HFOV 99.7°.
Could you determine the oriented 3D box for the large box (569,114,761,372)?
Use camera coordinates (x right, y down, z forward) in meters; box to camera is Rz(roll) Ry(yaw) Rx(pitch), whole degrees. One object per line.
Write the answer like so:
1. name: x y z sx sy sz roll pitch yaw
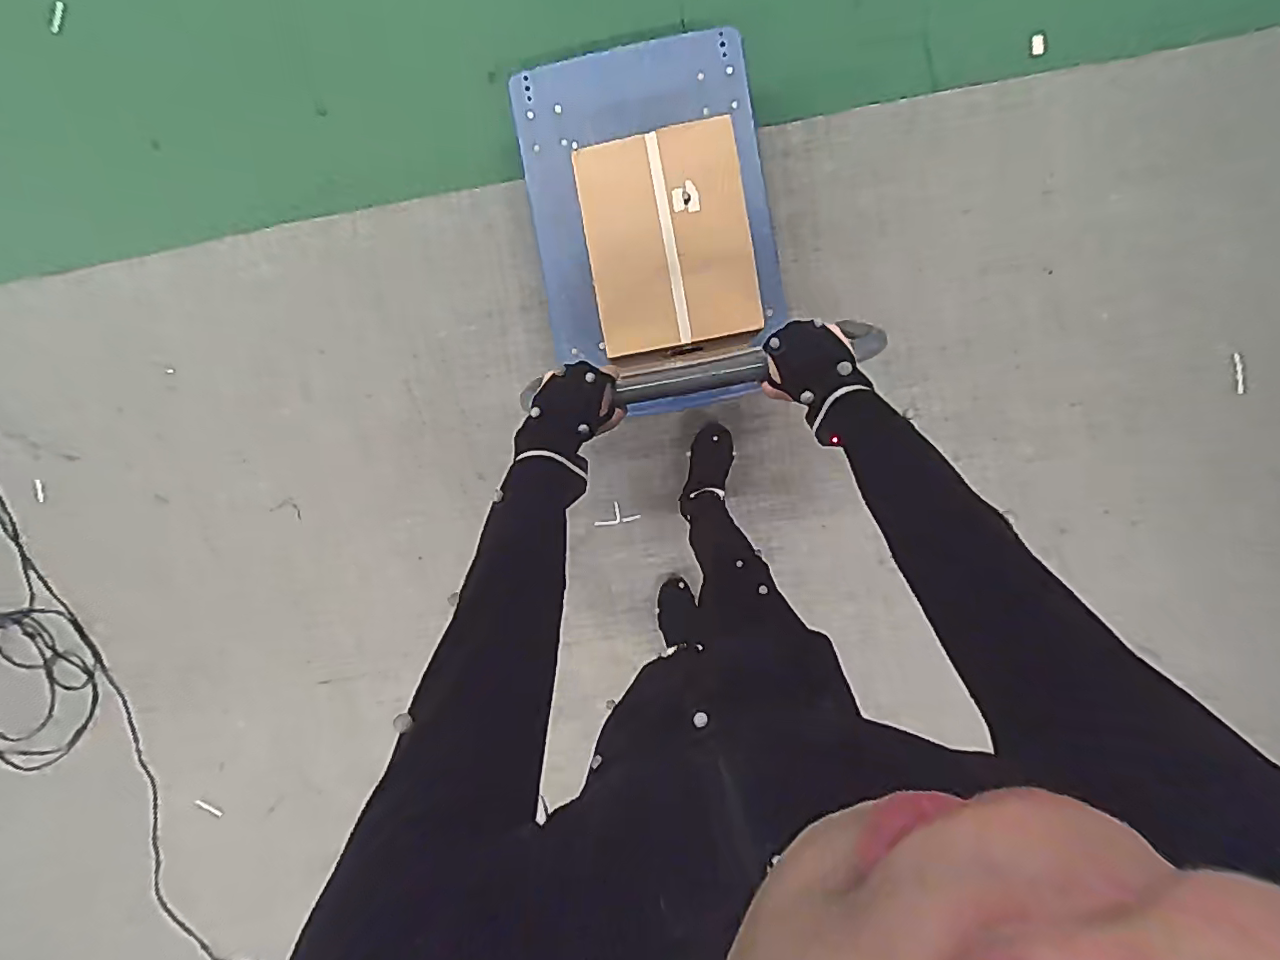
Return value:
1. large box: 0.059 -0.479 1.186 0.320 0.320 0.408 -10 93 4
